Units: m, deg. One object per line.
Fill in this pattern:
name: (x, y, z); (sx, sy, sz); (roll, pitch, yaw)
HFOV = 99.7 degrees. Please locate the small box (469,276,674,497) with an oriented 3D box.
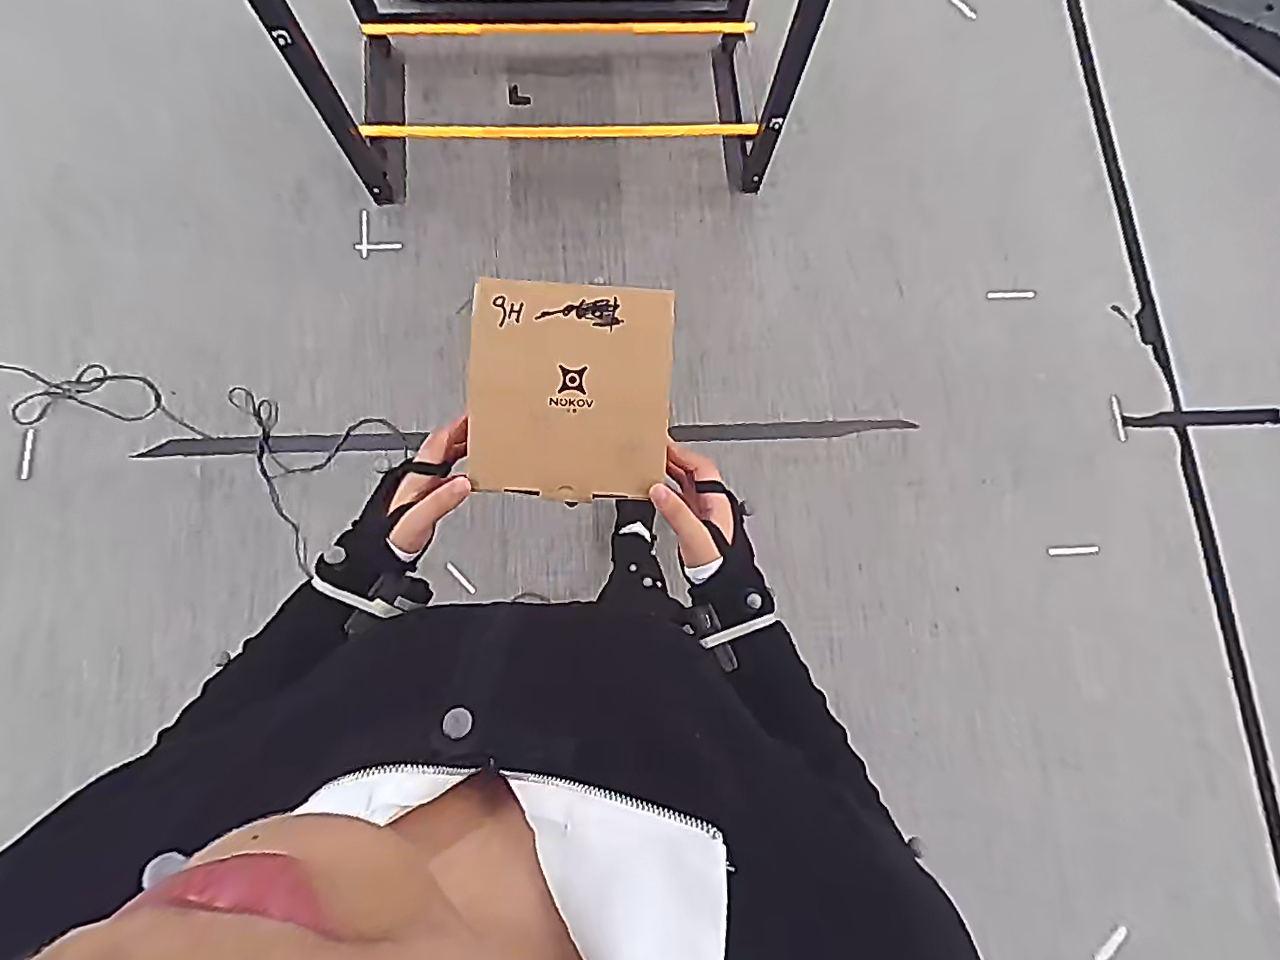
small box: (-0.061, -0.081, 0.528); (0.168, 0.176, 0.179); (3, 93, -4)
